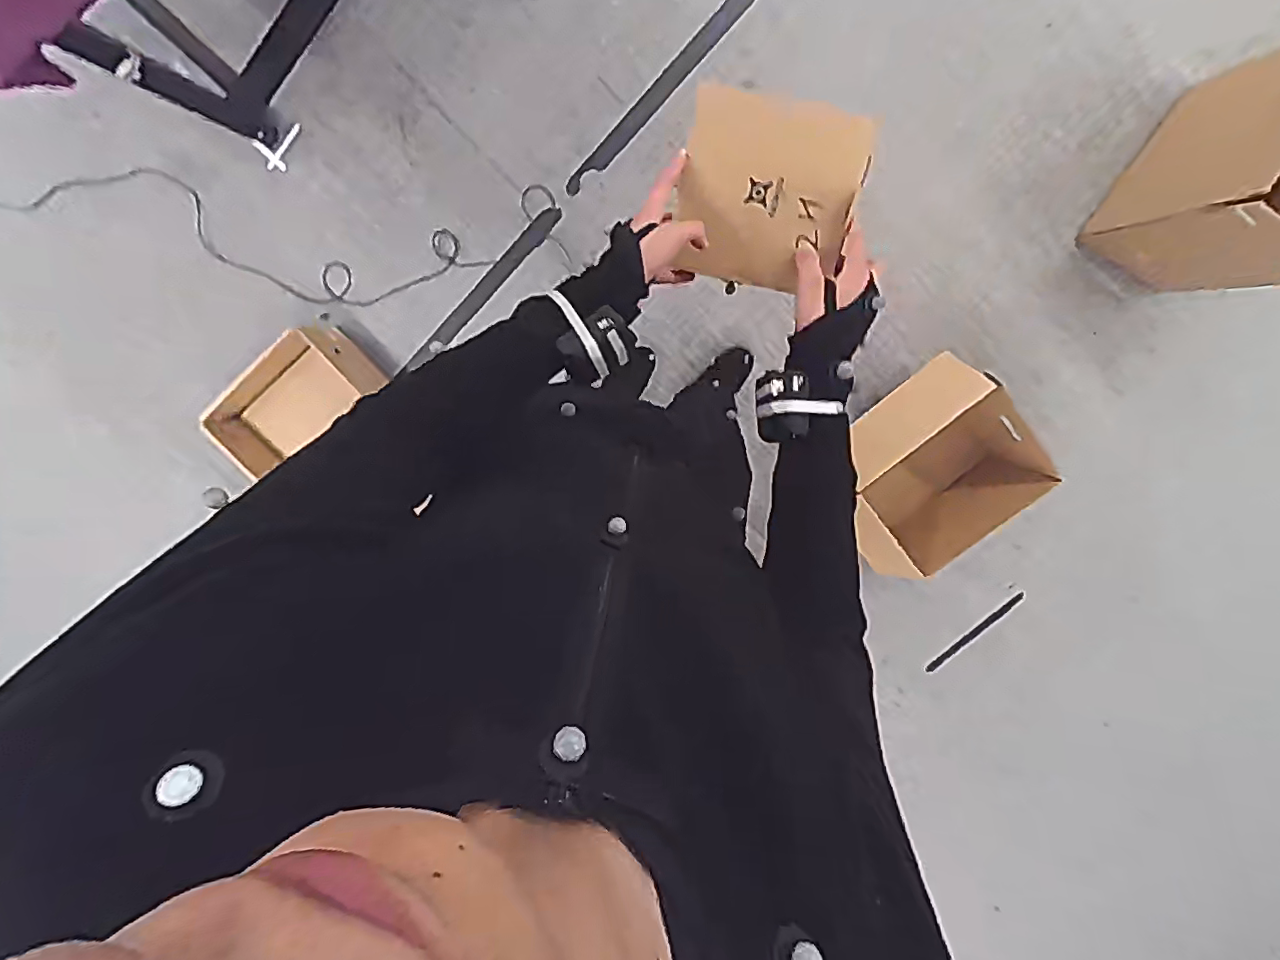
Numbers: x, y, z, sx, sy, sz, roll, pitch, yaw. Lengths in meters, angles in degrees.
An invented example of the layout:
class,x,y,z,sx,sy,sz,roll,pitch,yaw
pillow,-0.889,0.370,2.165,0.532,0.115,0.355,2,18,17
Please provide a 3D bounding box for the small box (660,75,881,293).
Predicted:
class,x,y,z,sx,sy,sz,roll,pitch,yaw
small box,0.131,-0.311,0.598,0.179,0.176,0.168,13,113,3
